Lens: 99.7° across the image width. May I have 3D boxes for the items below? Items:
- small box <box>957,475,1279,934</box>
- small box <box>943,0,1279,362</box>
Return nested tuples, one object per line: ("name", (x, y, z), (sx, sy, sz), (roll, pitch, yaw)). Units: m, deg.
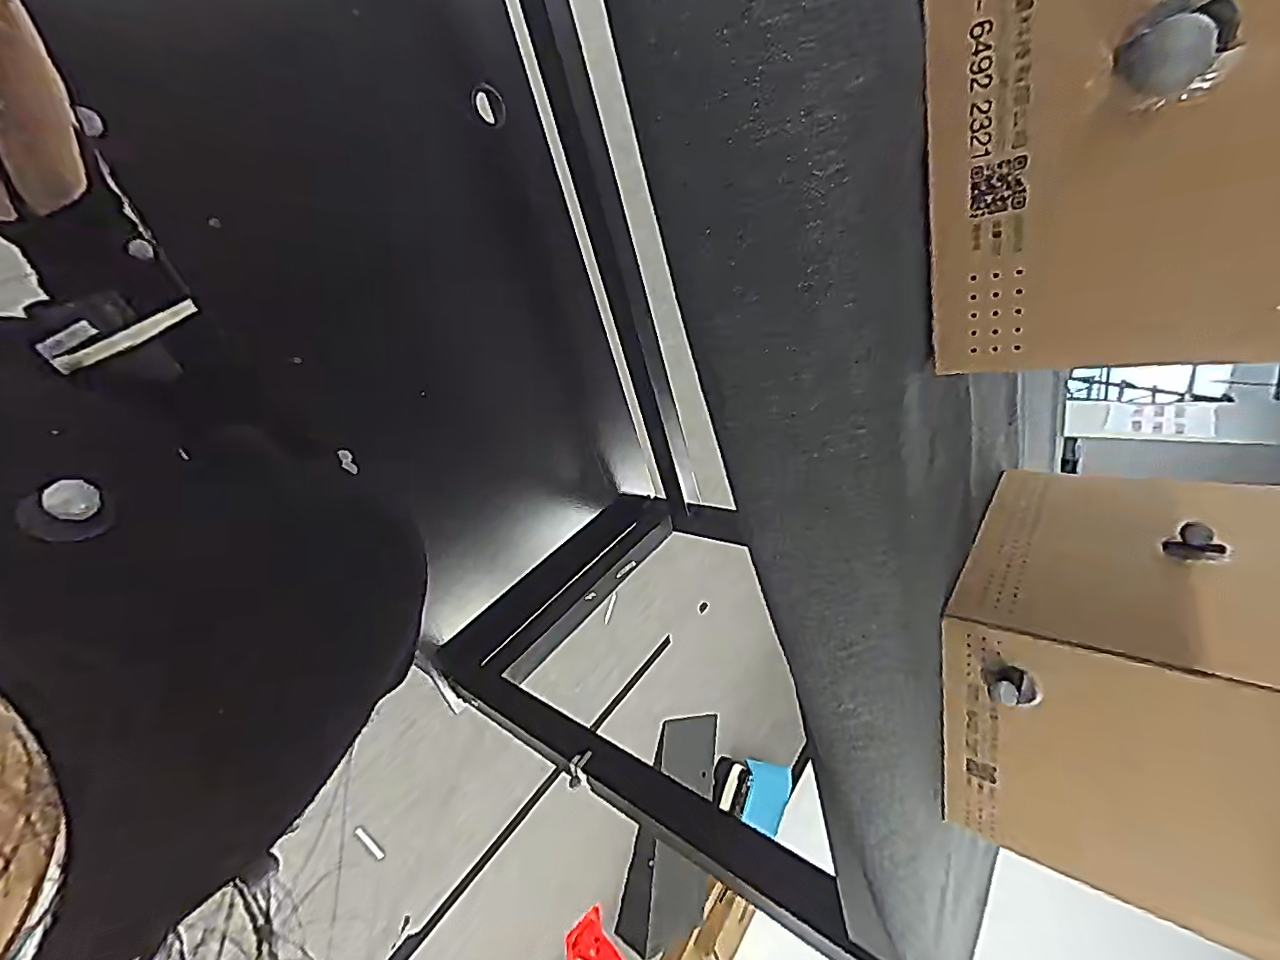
("small box", (0.292, 0.108, 0.310), (0.179, 0.176, 0.168), (-36, 121, -41))
("small box", (0.210, -0.147, 0.175), (0.179, 0.176, 0.168), (-41, 124, -39))
